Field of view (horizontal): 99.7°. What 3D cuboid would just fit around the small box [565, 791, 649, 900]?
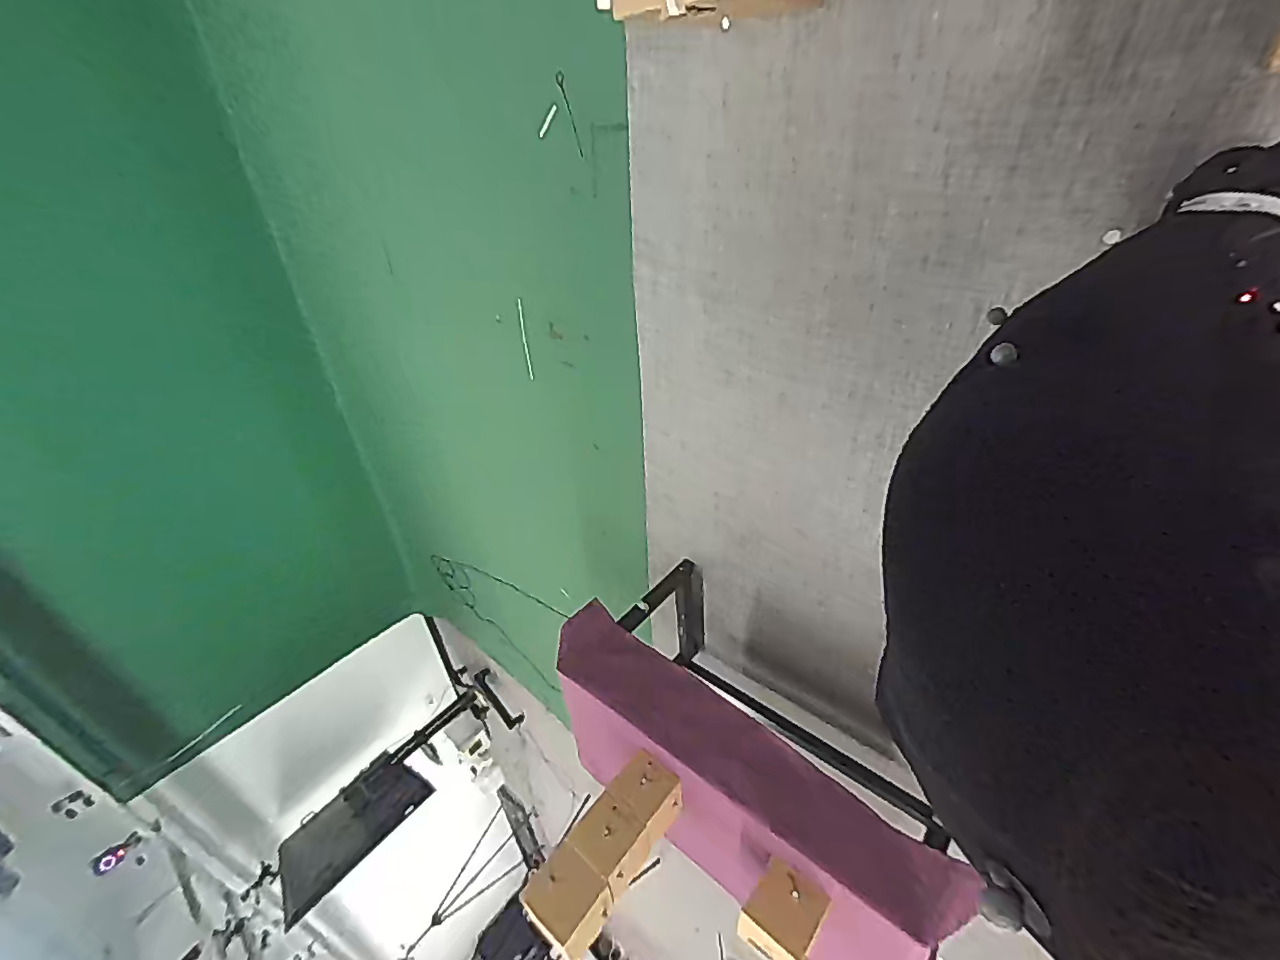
[{"bbox_3d":[-0.090,1.047,1.558,0.168,0.176,0.179,23,133,35],"label":"small box"}]

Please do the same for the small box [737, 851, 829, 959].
[{"bbox_3d":[0.369,1.116,1.397,0.168,0.176,0.179,24,133,33],"label":"small box"}]

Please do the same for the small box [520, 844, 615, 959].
[{"bbox_3d":[-0.191,1.129,1.460,0.179,0.176,0.168,22,134,34],"label":"small box"}]

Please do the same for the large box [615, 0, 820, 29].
[{"bbox_3d":[0.152,-1.127,1.003,0.320,0.320,0.408,24,132,34],"label":"large box"}]

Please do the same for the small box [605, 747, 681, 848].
[{"bbox_3d":[0.013,0.968,1.660,0.168,0.176,0.179,23,132,34],"label":"small box"}]
